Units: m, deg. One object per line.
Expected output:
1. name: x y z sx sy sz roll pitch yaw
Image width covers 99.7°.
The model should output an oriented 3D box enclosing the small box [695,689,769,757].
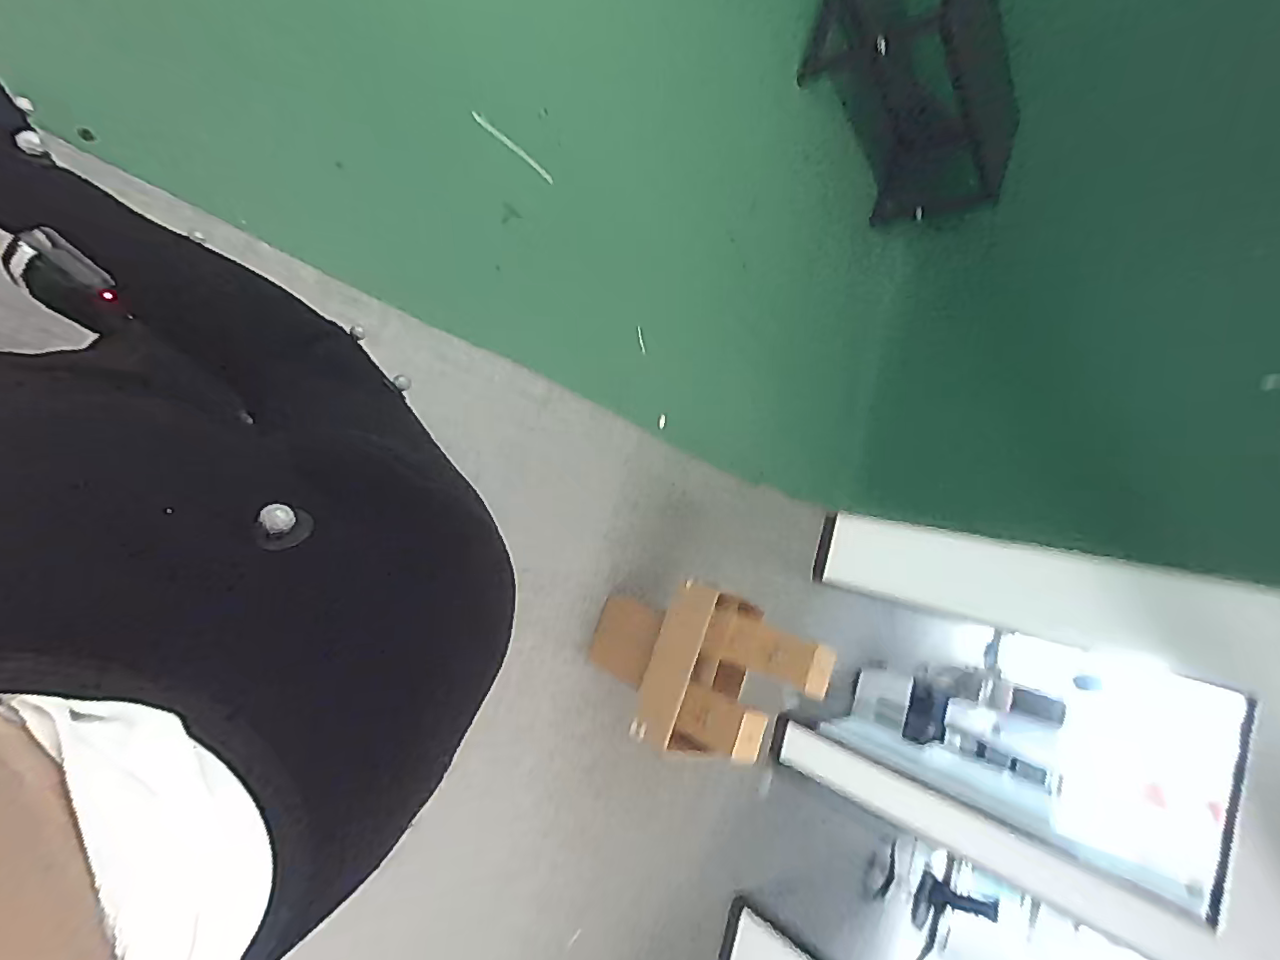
1. small box: 0.329 0.866 1.932 0.179 0.176 0.168 32 74 -43

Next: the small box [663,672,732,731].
1. small box: 0.217 0.846 2.049 0.179 0.176 0.168 33 74 -44

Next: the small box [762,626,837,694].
1. small box: 0.554 0.622 1.879 0.179 0.176 0.168 34 73 -43

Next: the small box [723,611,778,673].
1. small box: 0.435 0.599 1.992 0.179 0.176 0.168 33 75 -44
